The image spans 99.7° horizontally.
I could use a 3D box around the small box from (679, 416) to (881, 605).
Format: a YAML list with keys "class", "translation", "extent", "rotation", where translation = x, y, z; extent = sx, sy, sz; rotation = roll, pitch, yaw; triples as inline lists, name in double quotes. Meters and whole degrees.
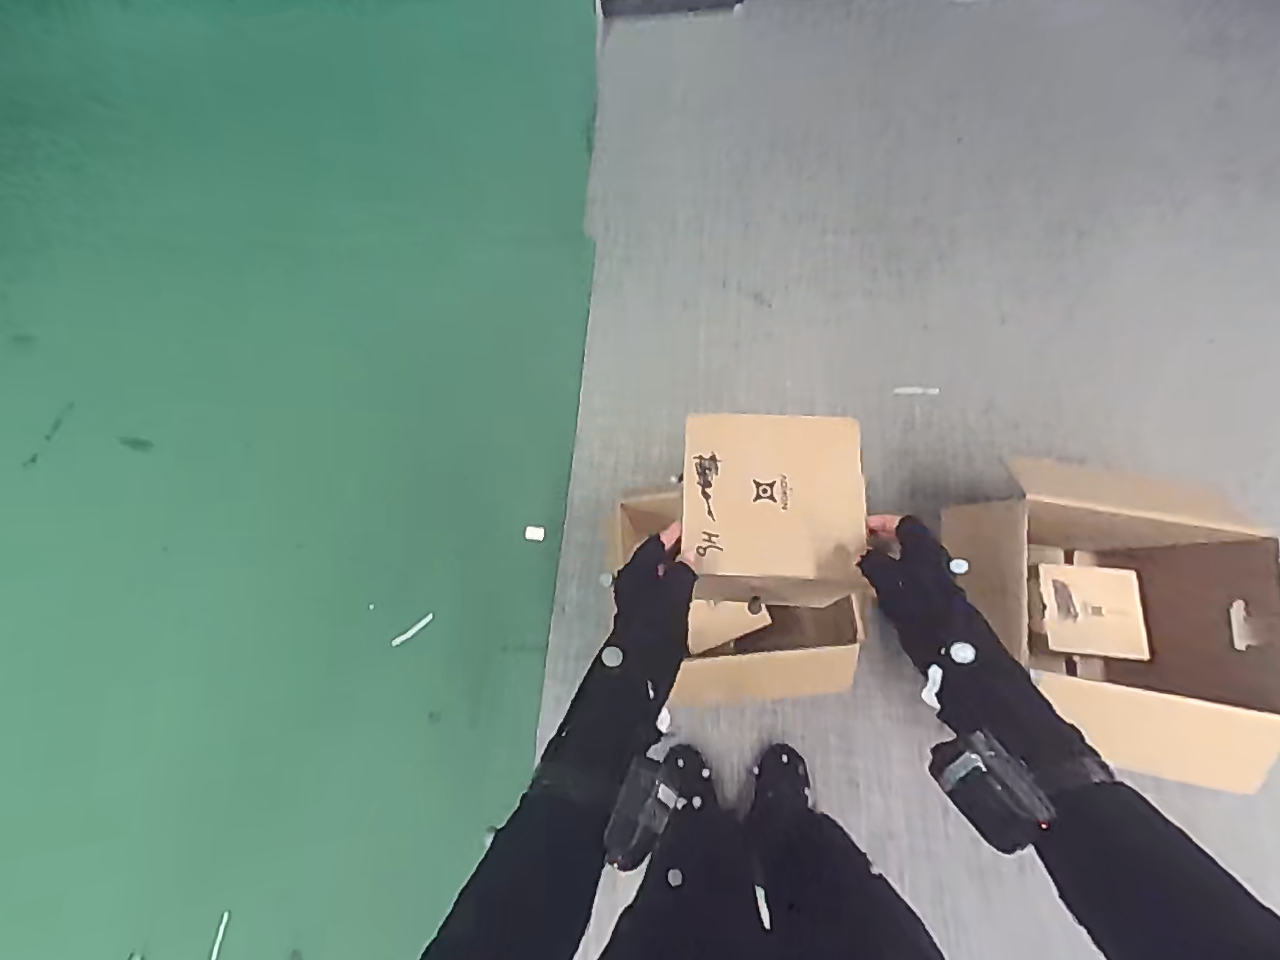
- class: "small box"
  translation: [0.136, 0.042, 0.590]
  extent: [0.179, 0.176, 0.168]
  rotation: [2, 70, 2]
